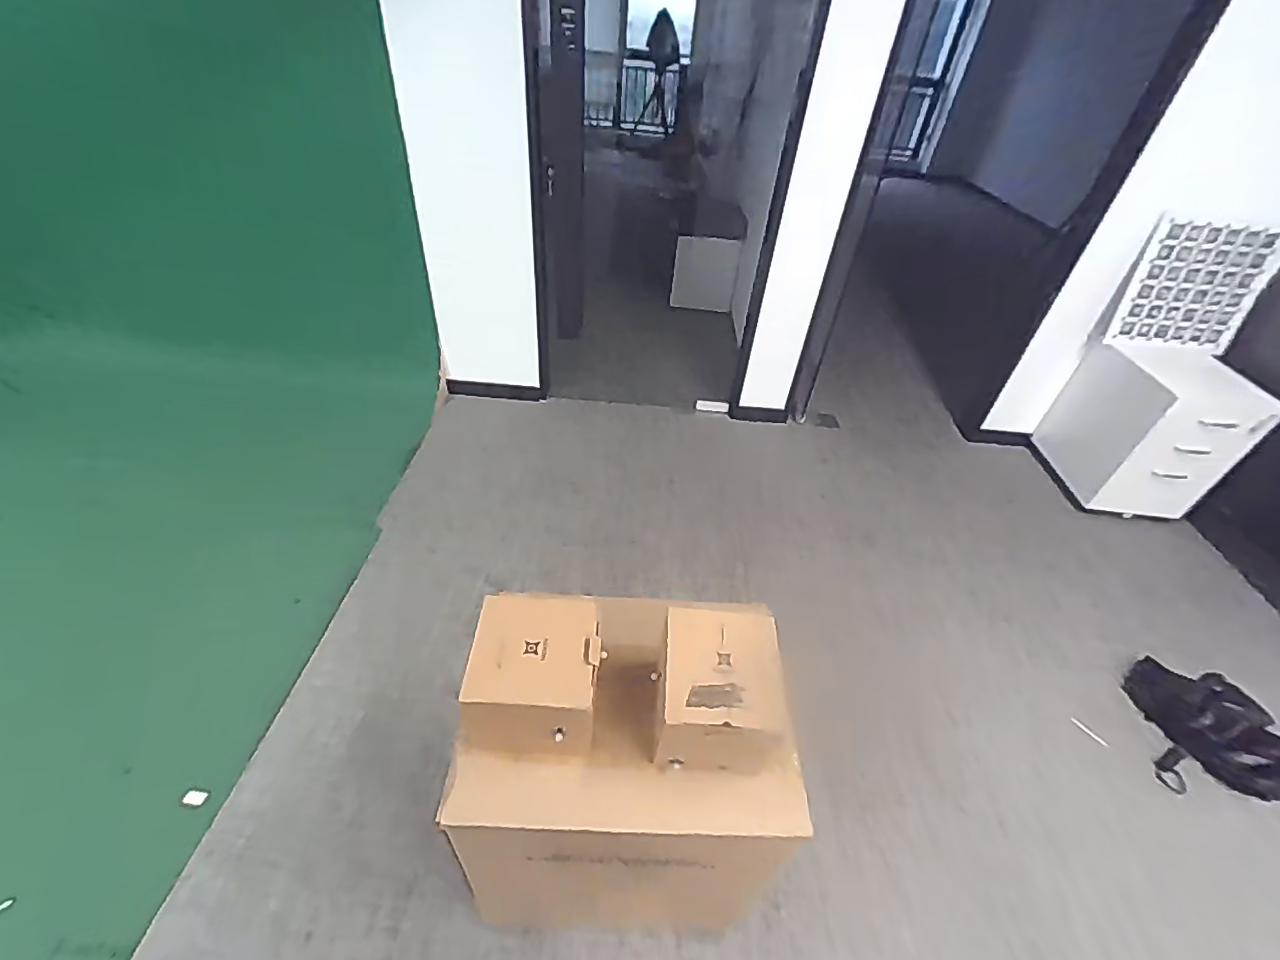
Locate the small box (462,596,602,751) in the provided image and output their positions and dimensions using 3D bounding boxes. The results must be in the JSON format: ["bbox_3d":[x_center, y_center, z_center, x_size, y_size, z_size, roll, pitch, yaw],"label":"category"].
[{"bbox_3d":[-0.151,0.295,0.823,0.179,0.176,0.168,2,43,-1],"label":"small box"}]

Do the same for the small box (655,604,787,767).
[{"bbox_3d":[0.114,0.315,0.823,0.168,0.176,0.179,6,44,0],"label":"small box"}]
